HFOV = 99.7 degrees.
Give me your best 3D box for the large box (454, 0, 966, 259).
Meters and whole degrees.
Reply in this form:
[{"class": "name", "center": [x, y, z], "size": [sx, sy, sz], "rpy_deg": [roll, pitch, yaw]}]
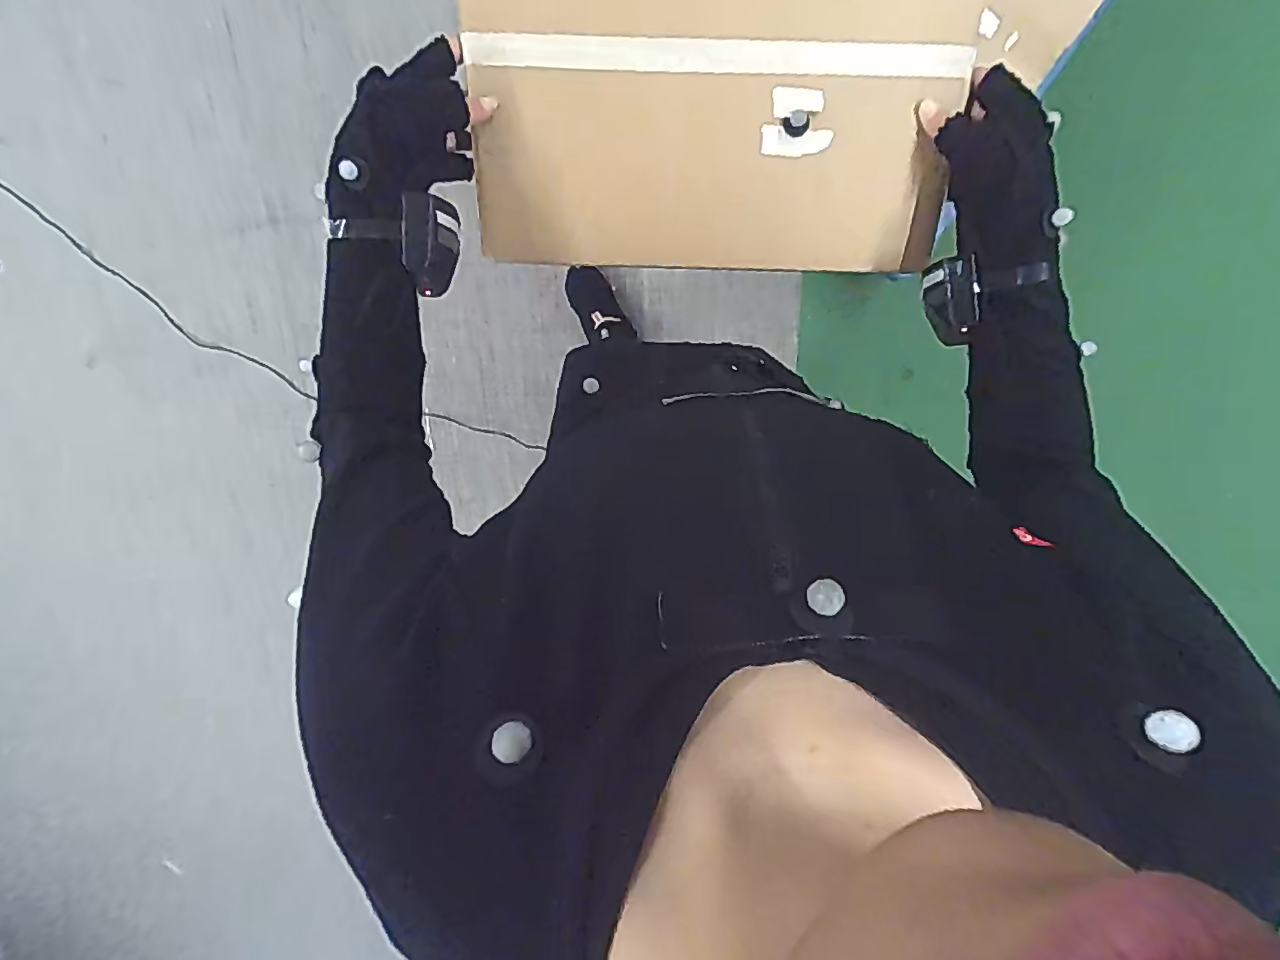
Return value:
[{"class": "large box", "center": [0.050, -0.402, 0.566], "size": [0.408, 0.320, 0.320], "rpy_deg": [1, 113, -1]}]
